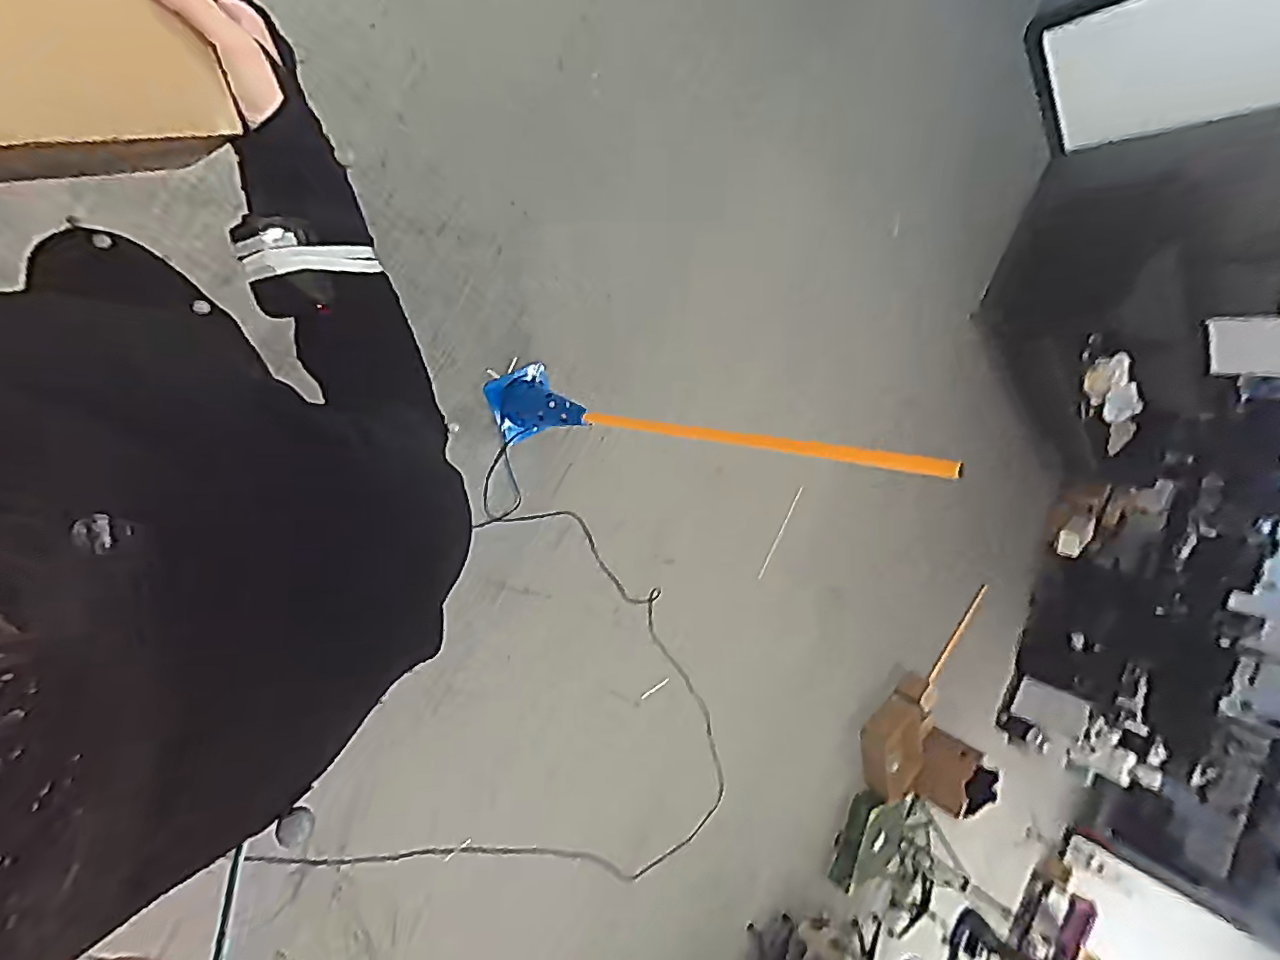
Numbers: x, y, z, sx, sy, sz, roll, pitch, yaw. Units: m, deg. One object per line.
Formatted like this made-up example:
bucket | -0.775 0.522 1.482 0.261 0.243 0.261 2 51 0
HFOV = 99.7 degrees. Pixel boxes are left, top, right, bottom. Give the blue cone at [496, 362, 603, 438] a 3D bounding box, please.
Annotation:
blue cone | -0.226 -0.207 1.488 0.192 0.380 0.193 -35 120 -27
